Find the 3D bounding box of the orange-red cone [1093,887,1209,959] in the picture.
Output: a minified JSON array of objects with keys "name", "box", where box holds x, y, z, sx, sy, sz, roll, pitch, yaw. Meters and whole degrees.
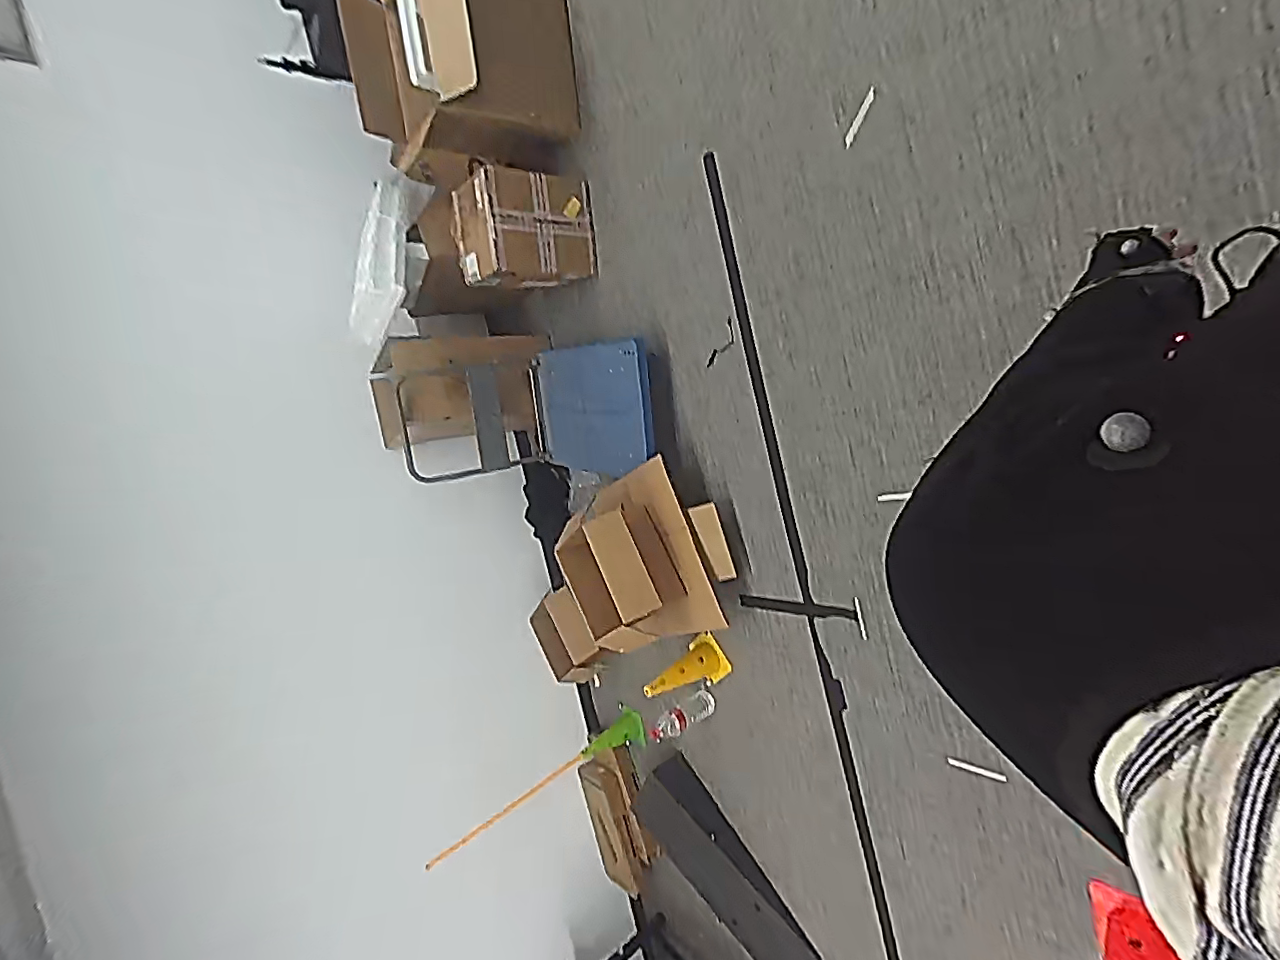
[{"name":"orange-red cone","box":[1.056,1.122,1.168,0.199,0.360,0.198,-2,100,55]}]
